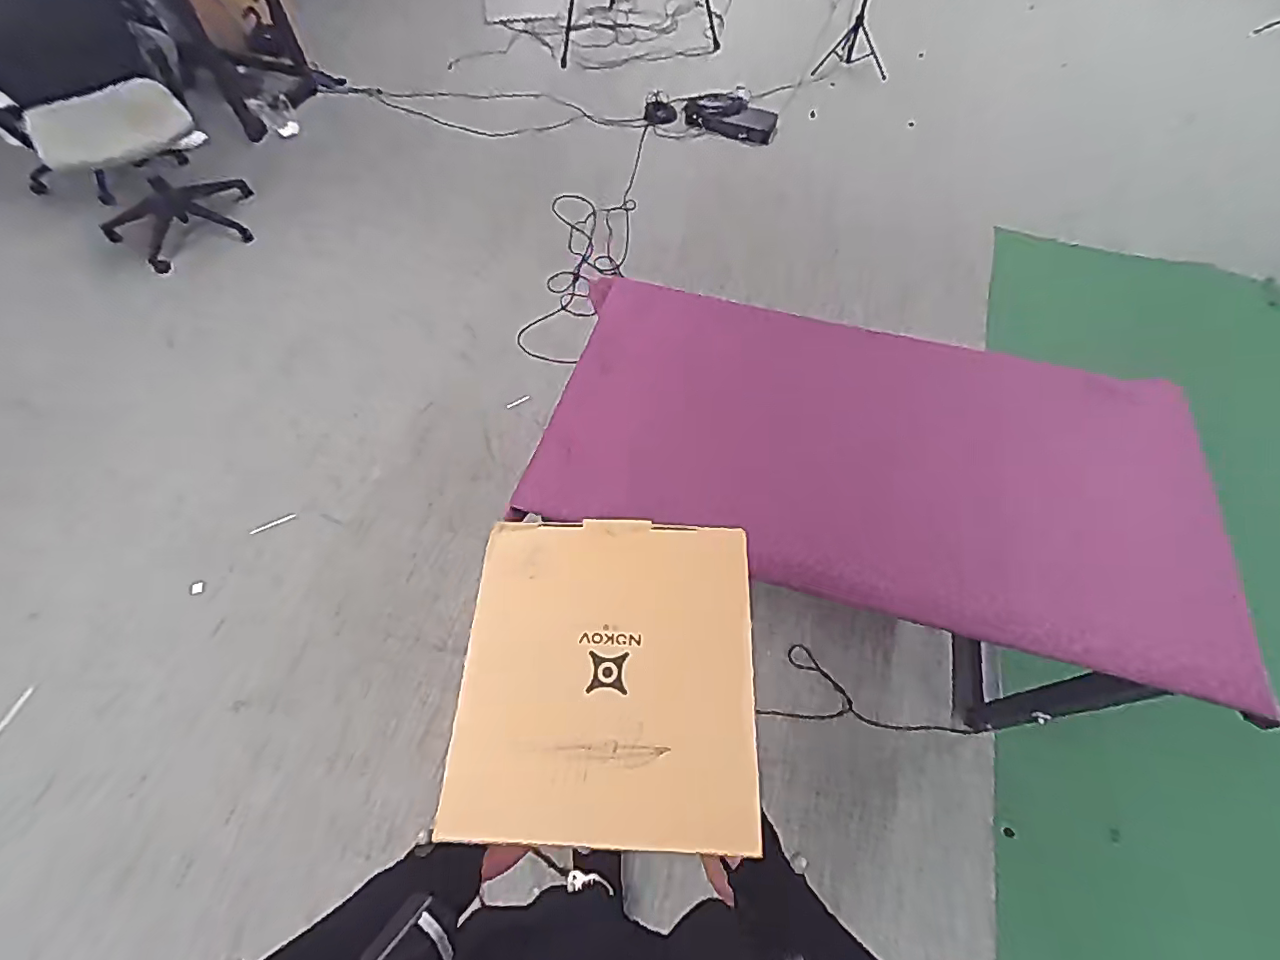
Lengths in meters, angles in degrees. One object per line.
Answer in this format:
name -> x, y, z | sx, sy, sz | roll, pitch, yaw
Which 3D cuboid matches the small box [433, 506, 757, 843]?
small box -> -0.016, 0.134, 0.376 | 0.168, 0.176, 0.179 | 2, 63, 3
